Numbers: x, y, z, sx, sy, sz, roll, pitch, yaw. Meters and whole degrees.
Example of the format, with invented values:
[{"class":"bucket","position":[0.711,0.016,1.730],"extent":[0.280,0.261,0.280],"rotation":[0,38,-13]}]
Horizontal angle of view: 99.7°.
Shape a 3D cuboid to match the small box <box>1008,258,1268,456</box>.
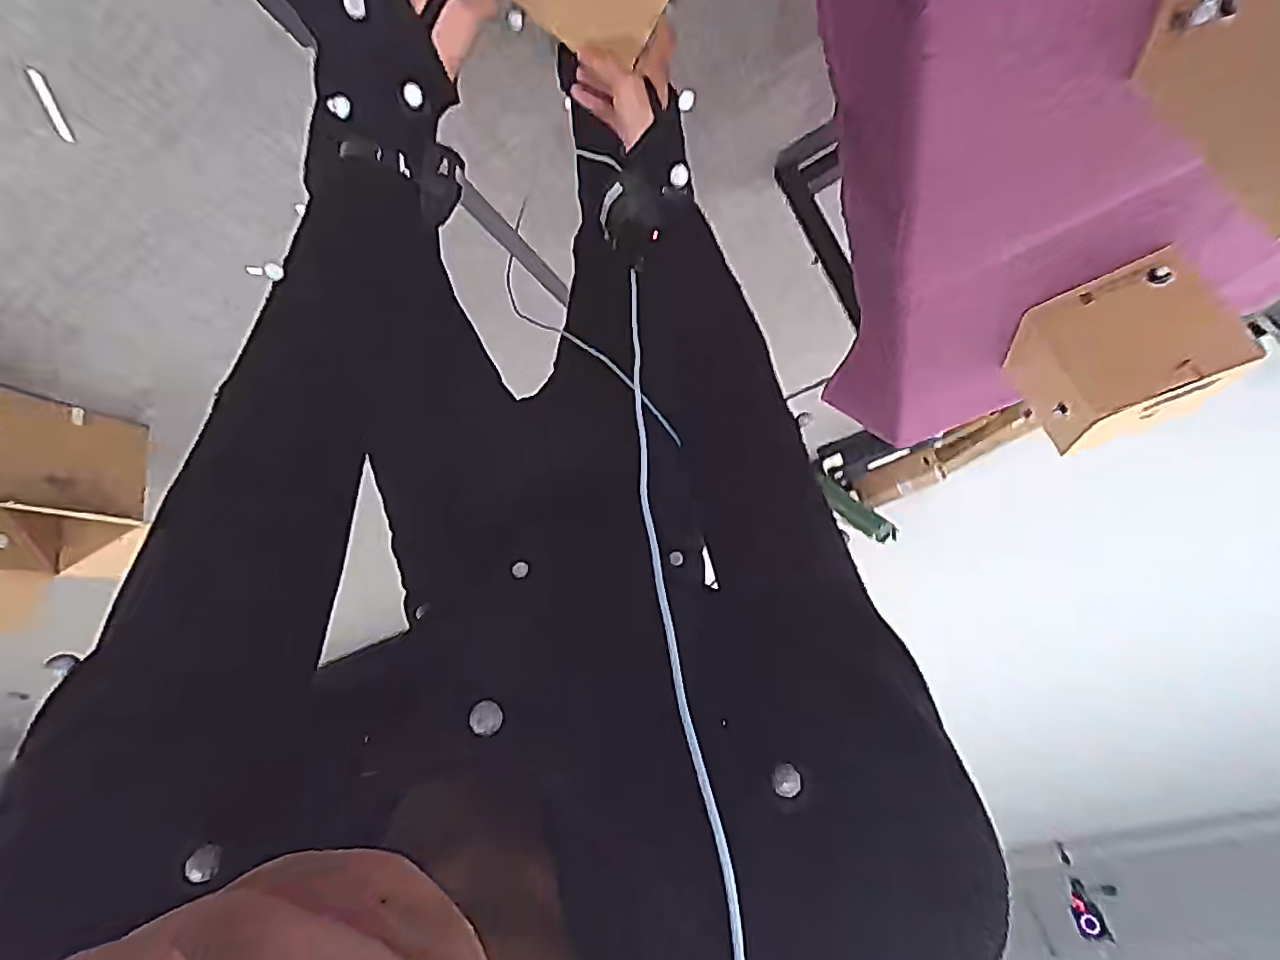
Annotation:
[{"class":"small box","position":[0.621,-0.158,0.709],"extent":[0.168,0.176,0.179],"rotation":[-24,159,19]}]
